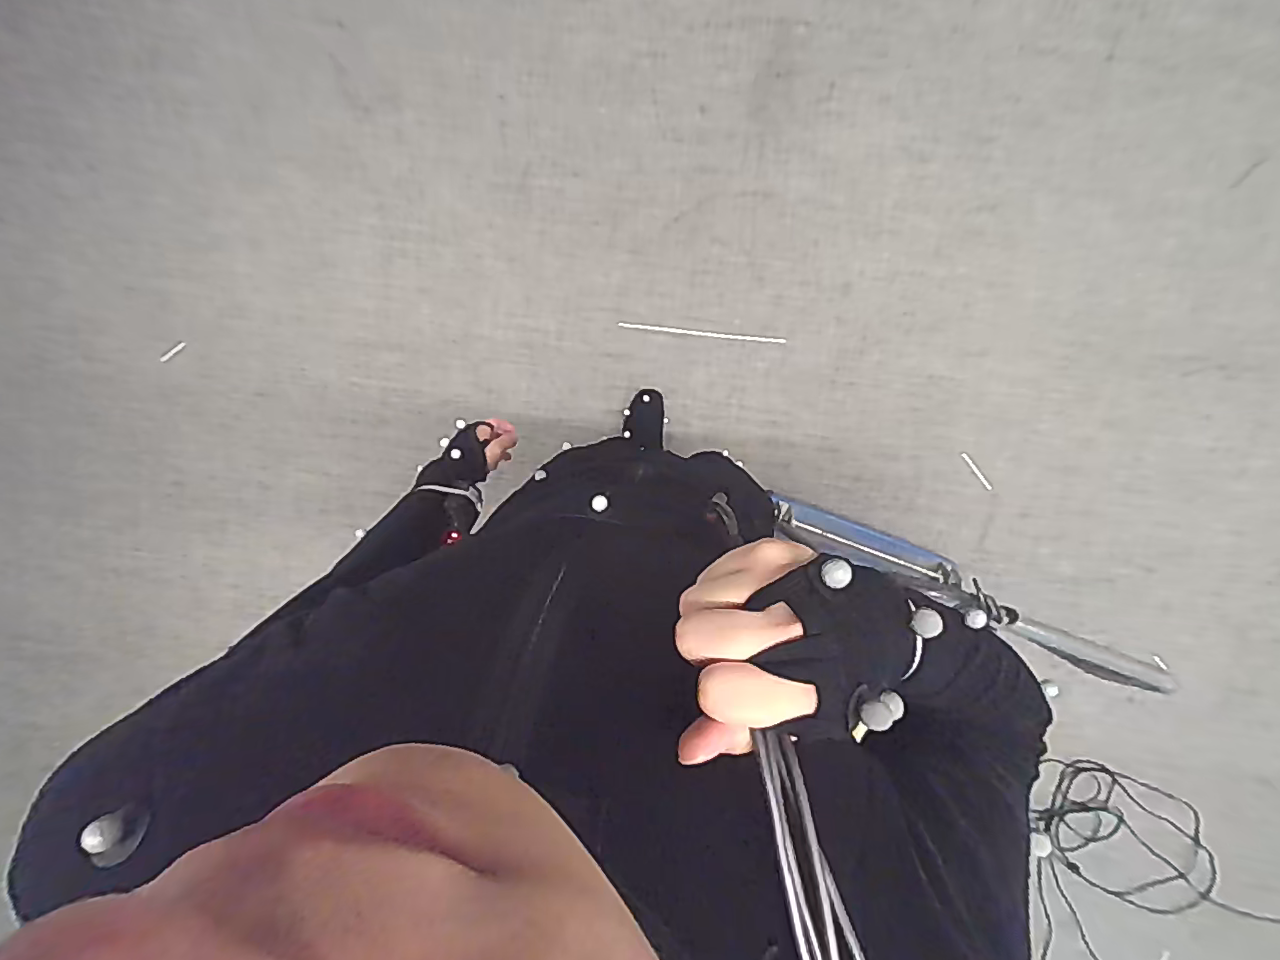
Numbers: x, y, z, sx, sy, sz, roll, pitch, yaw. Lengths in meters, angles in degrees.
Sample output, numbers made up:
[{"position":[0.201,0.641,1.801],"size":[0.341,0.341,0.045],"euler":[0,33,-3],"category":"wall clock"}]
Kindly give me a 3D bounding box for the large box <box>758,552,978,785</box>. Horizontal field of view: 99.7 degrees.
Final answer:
[{"position":[0.537,0.447,1.357],"size":[0.320,0.320,0.408],"euler":[21,100,-2],"category":"large box"}]
